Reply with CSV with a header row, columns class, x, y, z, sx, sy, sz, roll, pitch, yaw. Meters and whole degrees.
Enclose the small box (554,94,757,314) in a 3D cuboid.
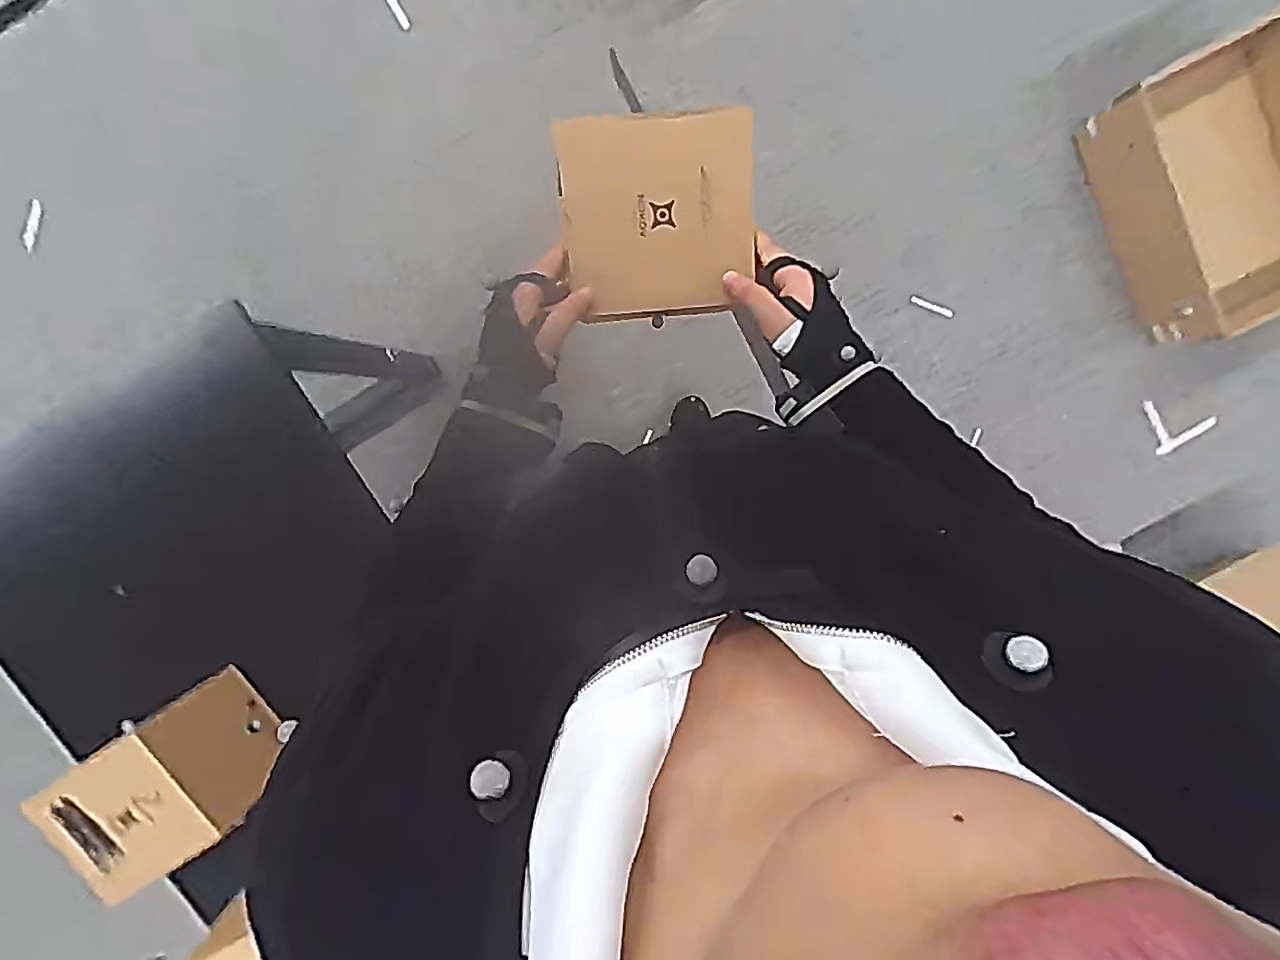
class,x,y,z,sx,sy,sz,roll,pitch,yaw
small box,0.015,-0.267,0.562,0.179,0.176,0.168,-6,105,-2
